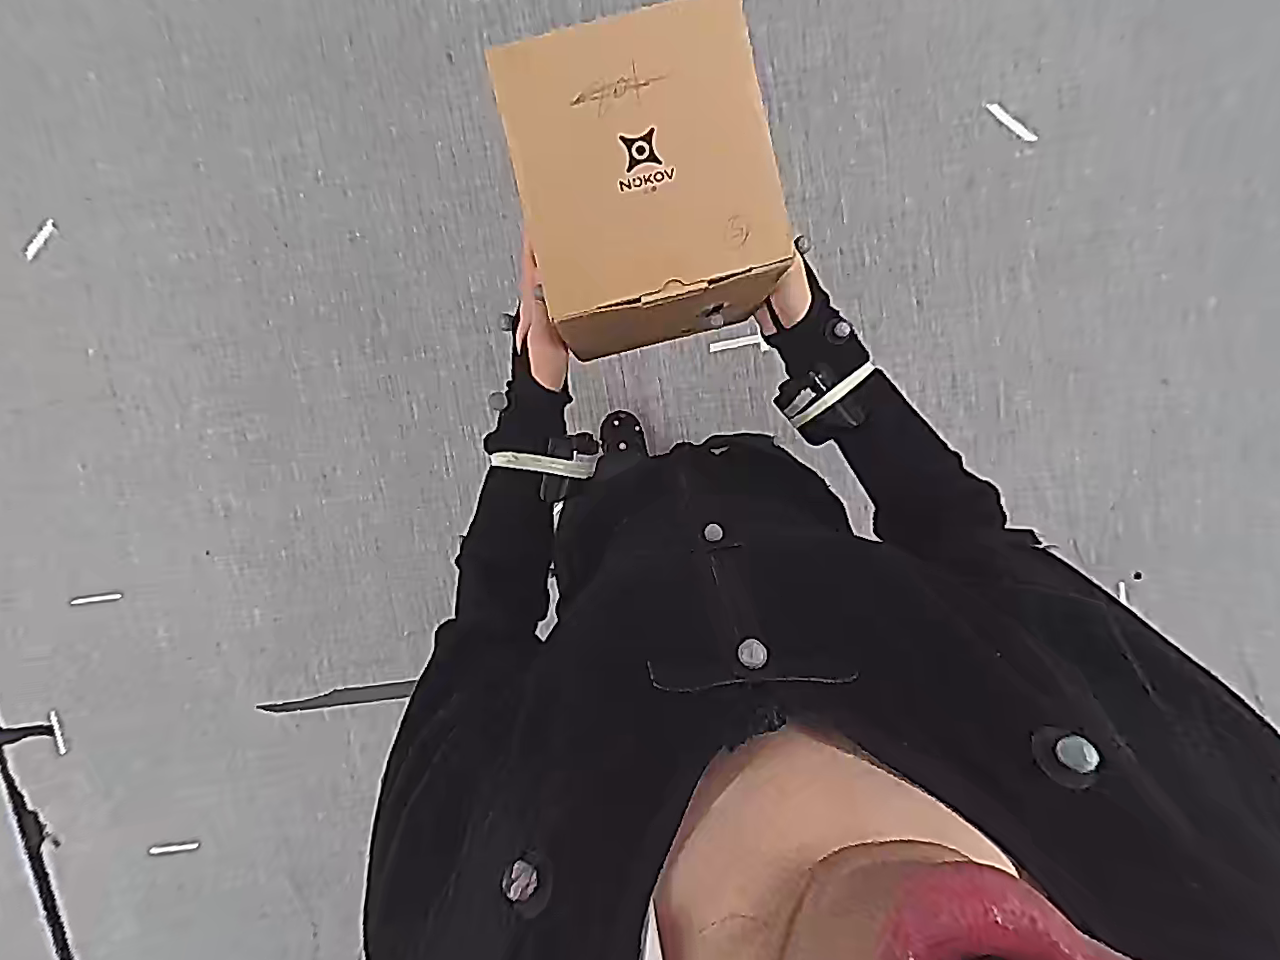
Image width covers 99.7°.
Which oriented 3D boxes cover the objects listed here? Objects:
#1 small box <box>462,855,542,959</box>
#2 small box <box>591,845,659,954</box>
[{"bbox_3d":[-0.391,1.223,1.555,0.179,0.176,0.168,8,95,-1],"label":"small box"},{"bbox_3d":[-0.036,1.187,1.539,0.168,0.176,0.179,-9,95,2],"label":"small box"}]
